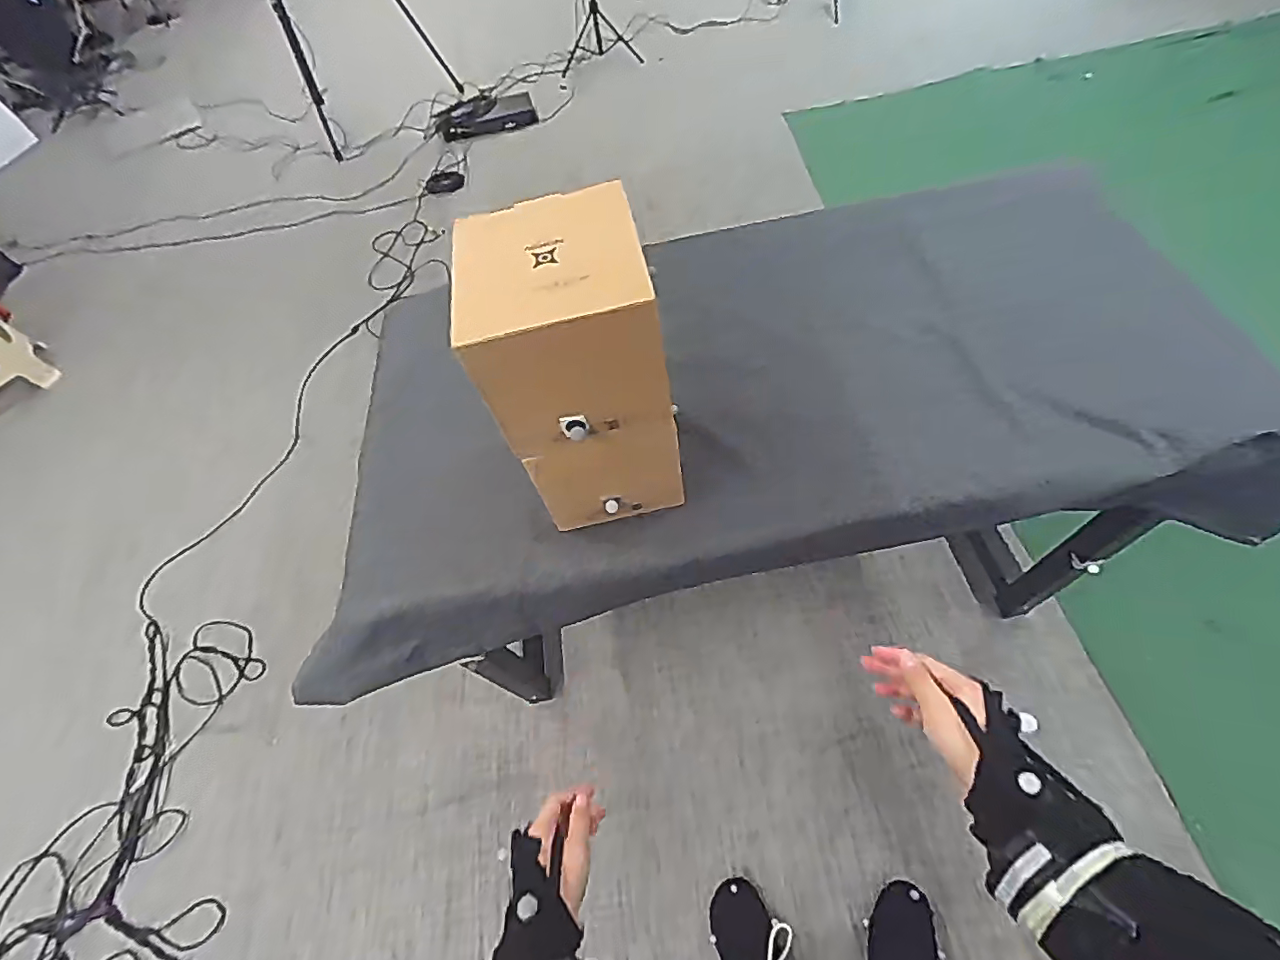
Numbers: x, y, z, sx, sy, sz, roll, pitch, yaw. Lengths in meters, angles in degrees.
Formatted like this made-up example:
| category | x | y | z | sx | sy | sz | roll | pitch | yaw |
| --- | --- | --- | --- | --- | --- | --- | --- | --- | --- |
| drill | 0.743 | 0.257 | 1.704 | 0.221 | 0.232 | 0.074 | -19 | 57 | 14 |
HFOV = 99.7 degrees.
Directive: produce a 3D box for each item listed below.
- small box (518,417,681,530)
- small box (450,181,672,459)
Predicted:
| category | x | y | z | sx | sy | sz | roll | pitch | yaw |
| --- | --- | --- | --- | --- | --- | --- | --- | --- | --- |
| small box | -0.049 | -0.064 | 0.663 | 0.168 | 0.176 | 0.179 | -13 | 58 | 1 |
| small box | -0.070 | -0.148 | 0.525 | 0.168 | 0.176 | 0.179 | -14 | 58 | 2 |
